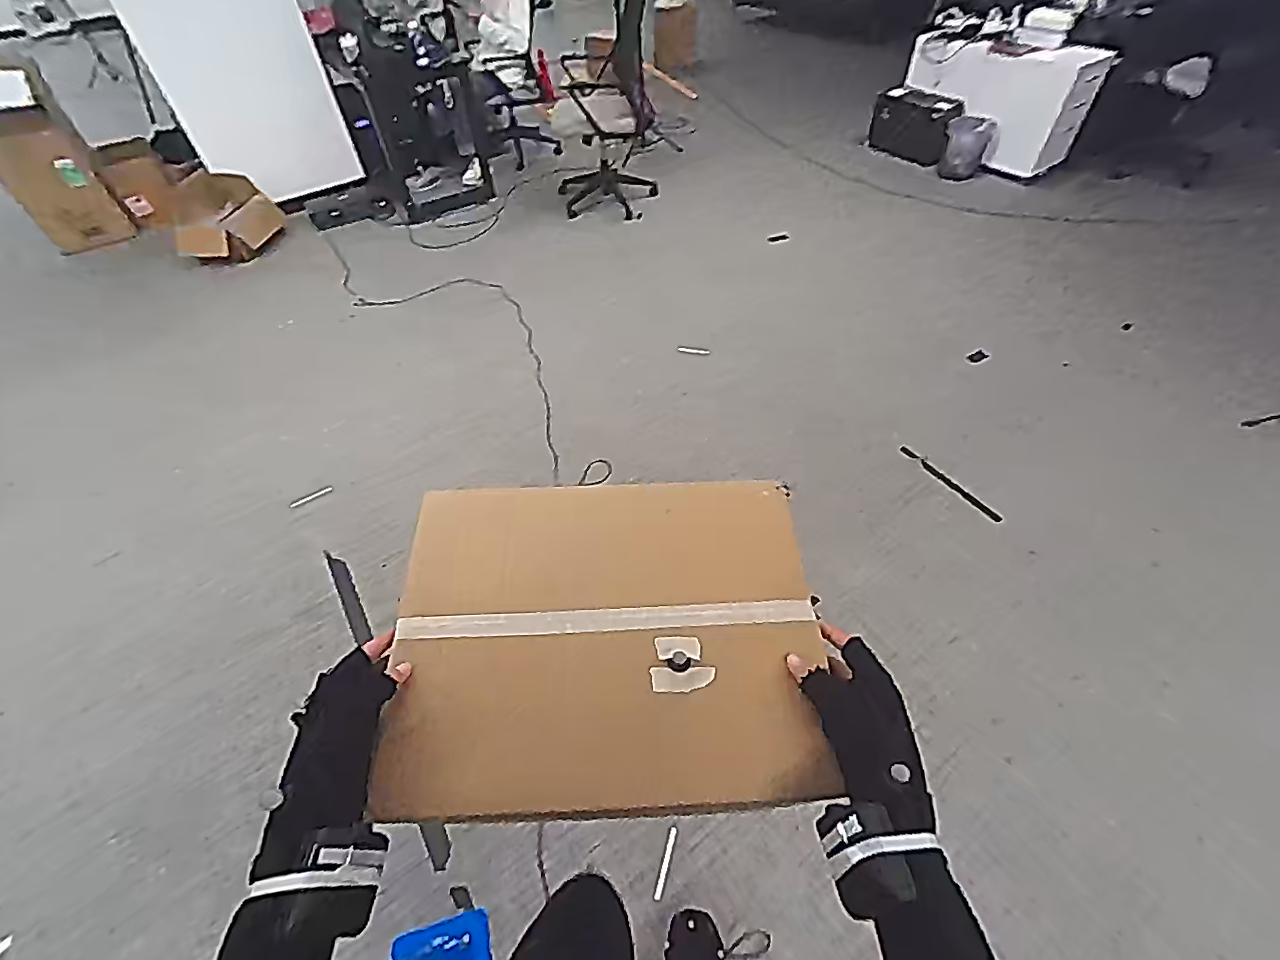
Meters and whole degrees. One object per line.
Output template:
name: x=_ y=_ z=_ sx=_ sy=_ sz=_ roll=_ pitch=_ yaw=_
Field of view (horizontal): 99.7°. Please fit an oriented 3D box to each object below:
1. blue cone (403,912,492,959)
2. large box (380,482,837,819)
blue cone: x=-0.402 y=0.911 z=0.977 sx=0.193 sy=0.380 sz=0.192 roll=-12 pitch=51 yaw=-6
large box: x=-0.035 y=0.220 z=0.667 sx=0.408 sy=0.320 sz=0.320 roll=-2 pitch=57 yaw=-2
